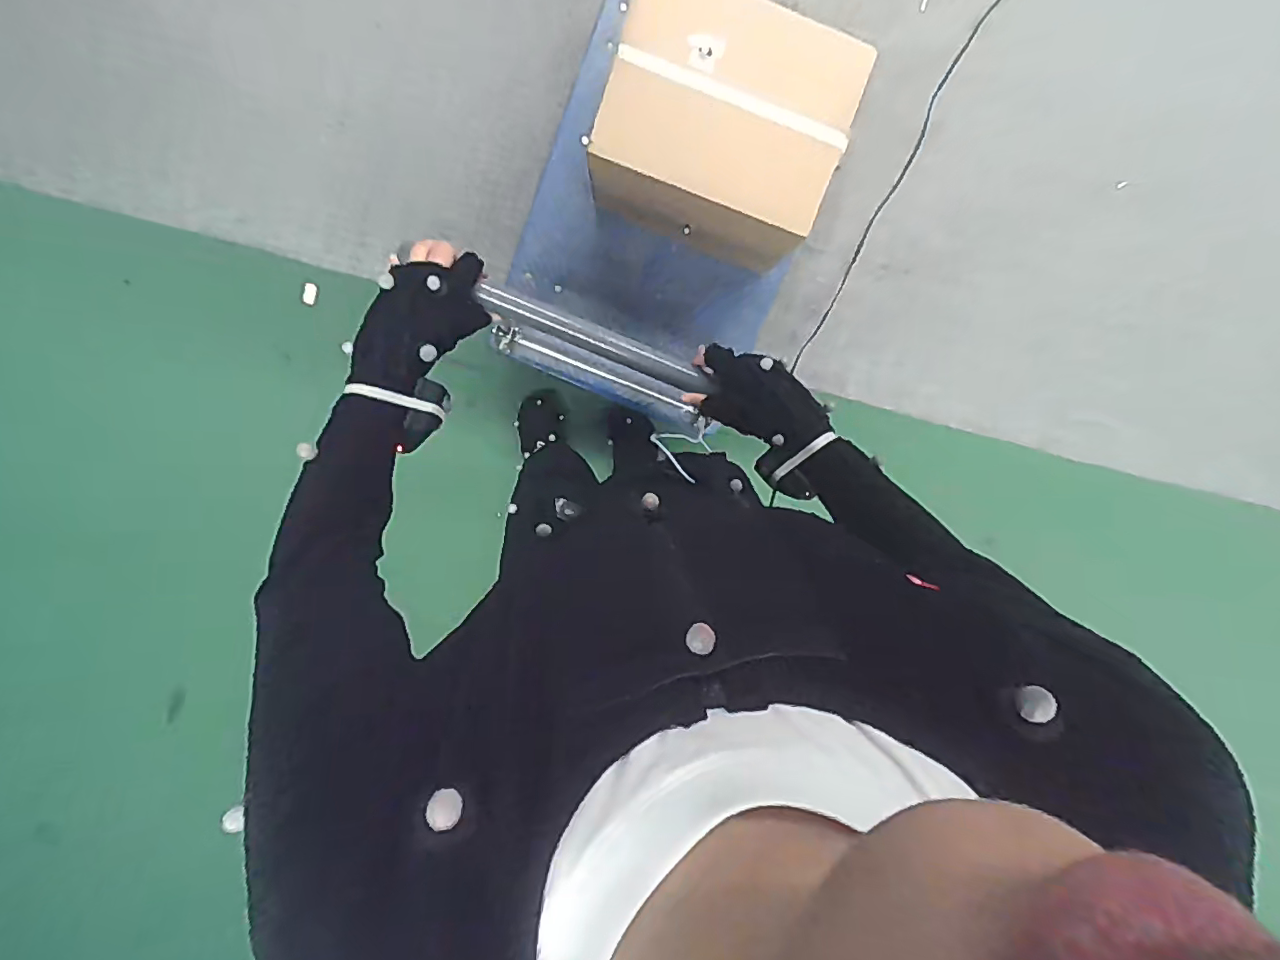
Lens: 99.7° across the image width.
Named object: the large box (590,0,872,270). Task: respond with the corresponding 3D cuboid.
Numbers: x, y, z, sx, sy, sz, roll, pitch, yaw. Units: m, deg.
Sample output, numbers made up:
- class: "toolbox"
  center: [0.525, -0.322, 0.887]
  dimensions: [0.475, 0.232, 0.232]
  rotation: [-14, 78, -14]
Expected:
- class: "large box"
  center: [0.150, -0.647, 1.043]
  dimensions: [0.408, 0.320, 0.320]
  rotation: [18, 97, -3]
